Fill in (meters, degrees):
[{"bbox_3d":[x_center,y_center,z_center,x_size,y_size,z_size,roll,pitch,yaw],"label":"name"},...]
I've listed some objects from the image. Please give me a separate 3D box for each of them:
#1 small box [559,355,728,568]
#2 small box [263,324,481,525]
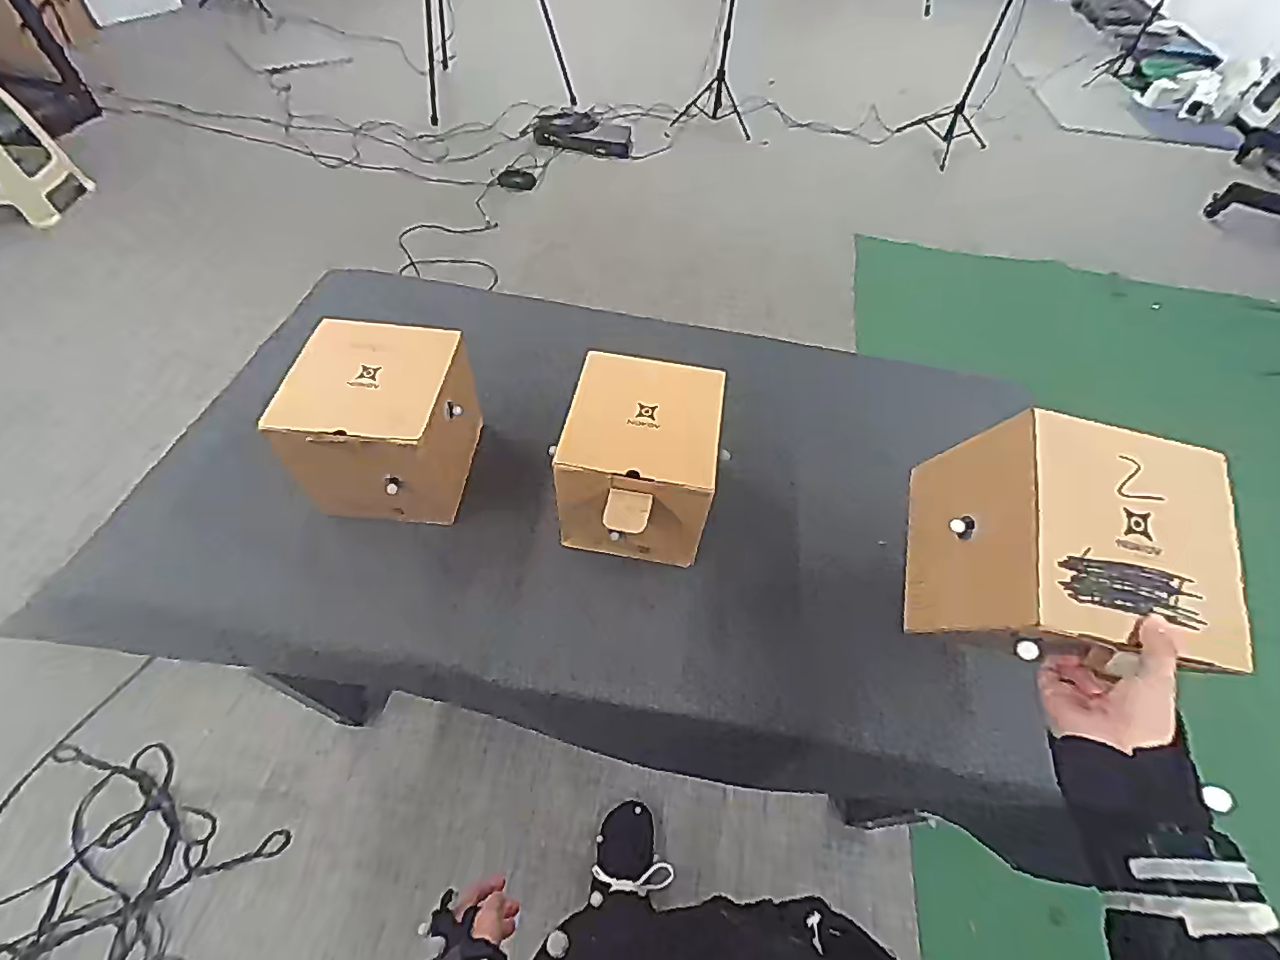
[{"bbox_3d":[0.004,-0.019,0.652,0.168,0.176,0.179,10,54,2],"label":"small box"},{"bbox_3d":[-0.301,-0.062,0.659,0.168,0.176,0.179,5,53,-2],"label":"small box"}]
